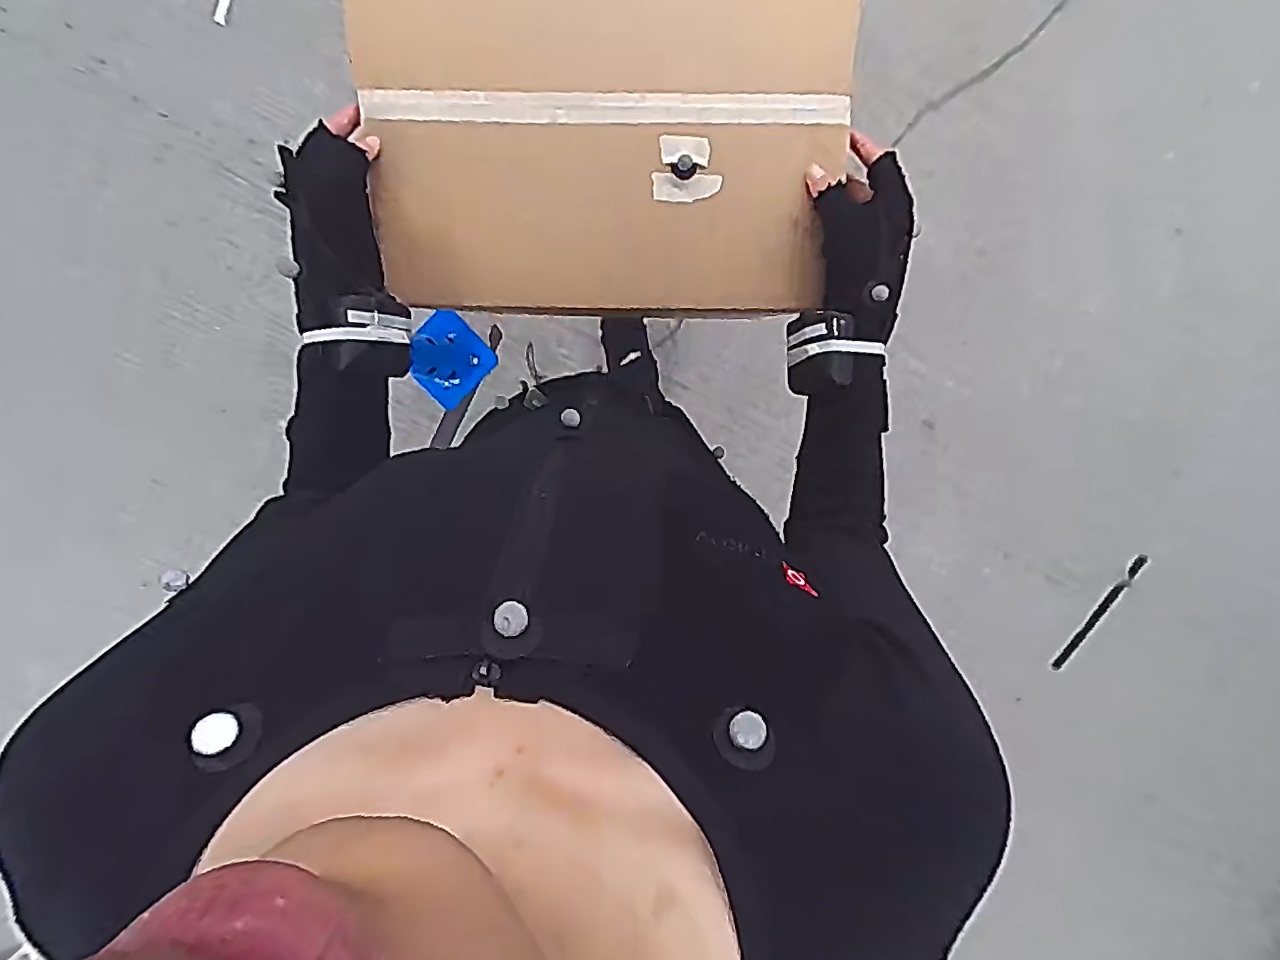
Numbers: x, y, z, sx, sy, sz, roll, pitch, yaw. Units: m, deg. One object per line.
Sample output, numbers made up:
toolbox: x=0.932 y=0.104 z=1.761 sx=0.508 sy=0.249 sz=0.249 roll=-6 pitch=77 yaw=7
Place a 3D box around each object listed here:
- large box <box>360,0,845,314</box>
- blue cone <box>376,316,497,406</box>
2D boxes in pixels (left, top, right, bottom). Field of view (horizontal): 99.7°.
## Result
large box: x=-0.032 y=-0.357 z=0.603 sx=0.408 sy=0.320 sz=0.320 roll=0 pitch=105 yaw=-1
blue cone: x=-0.496 y=-0.279 z=1.256 sx=0.192 sy=0.380 sz=0.193 roll=-40 pitch=98 yaw=9
